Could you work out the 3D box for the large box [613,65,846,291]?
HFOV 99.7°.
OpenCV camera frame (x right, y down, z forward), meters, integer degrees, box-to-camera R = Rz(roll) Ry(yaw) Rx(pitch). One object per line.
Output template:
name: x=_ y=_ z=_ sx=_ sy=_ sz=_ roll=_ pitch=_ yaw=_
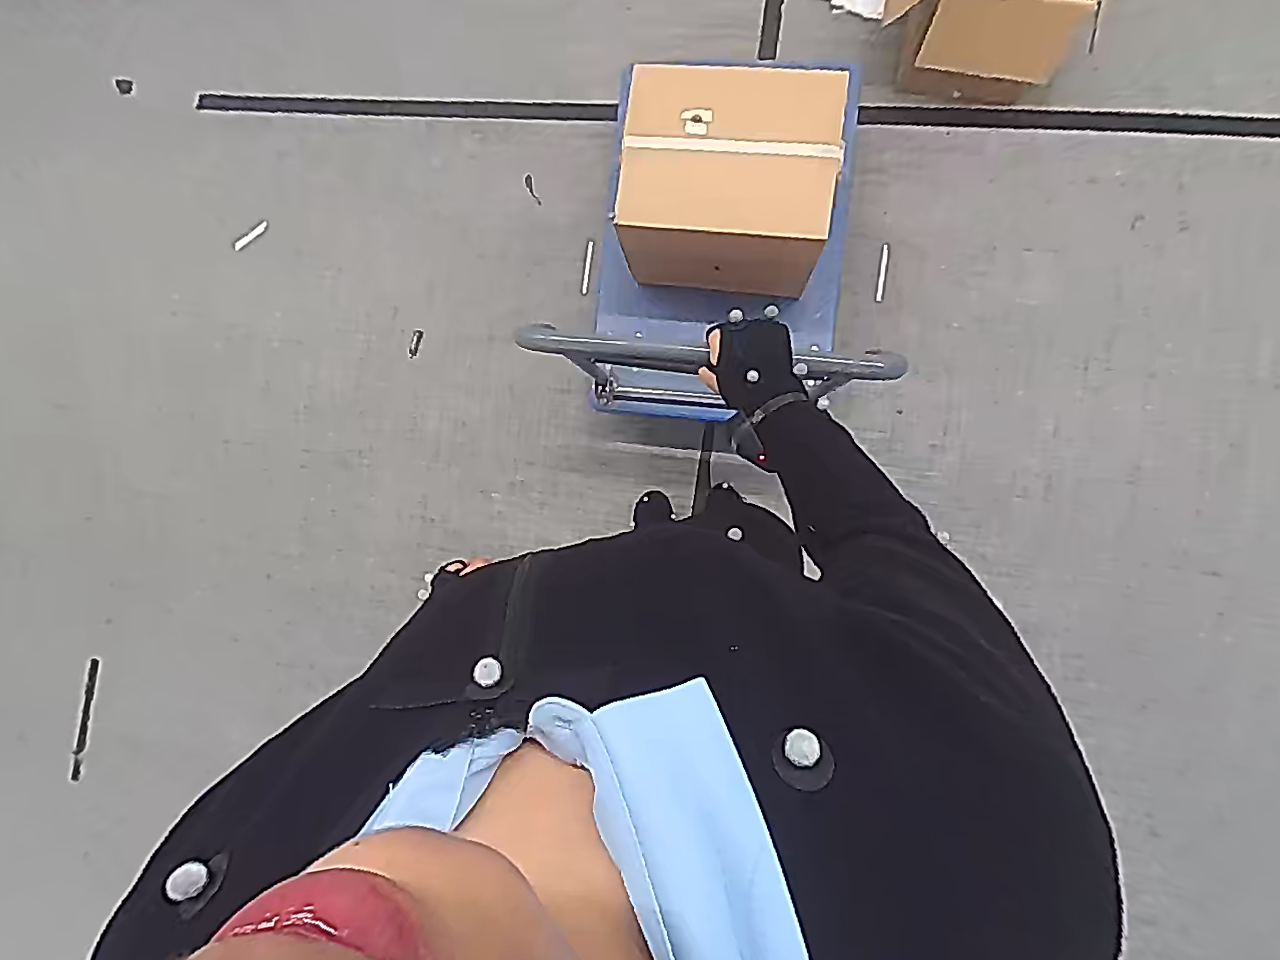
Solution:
large box: x=0.183 y=-0.614 z=1.146 sx=0.408 sy=0.320 sz=0.320 roll=8 pitch=89 yaw=9
